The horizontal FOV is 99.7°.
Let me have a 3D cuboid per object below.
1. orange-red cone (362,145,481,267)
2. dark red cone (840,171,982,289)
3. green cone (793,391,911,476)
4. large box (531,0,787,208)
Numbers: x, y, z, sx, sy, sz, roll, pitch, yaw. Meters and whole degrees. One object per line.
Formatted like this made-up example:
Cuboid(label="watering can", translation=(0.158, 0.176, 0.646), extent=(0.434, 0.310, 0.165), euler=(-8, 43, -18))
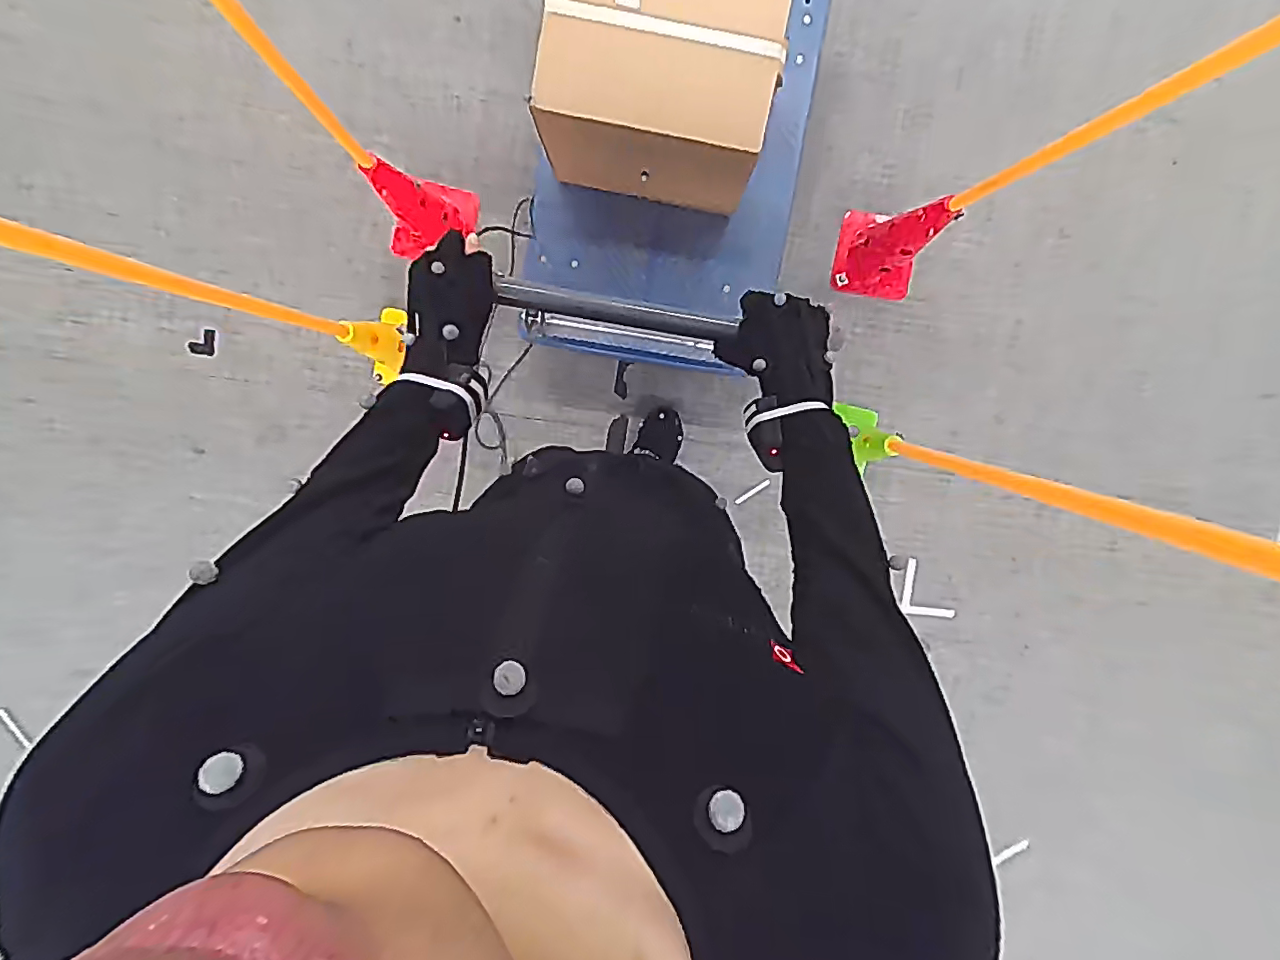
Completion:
Cuboid(label="orange-red cone", translation=(-0.521, -0.650, 1.218), extent=(0.198, 0.360, 0.199), euler=(16, 95, -2))
Cuboid(label="dark red cone", translation=(0.610, -0.572, 1.191), extent=(0.201, 0.394, 0.202), euler=(8, 97, -2))
Cuboid(label="green cone", translation=(0.521, -0.101, 1.266), extent=(0.202, 0.368, 0.200), euler=(12, 97, -2))
Cuboid(label="large box", translation=(0.039, -0.766, 1.050), extent=(0.408, 0.320, 0.320), euler=(11, 98, 0))
